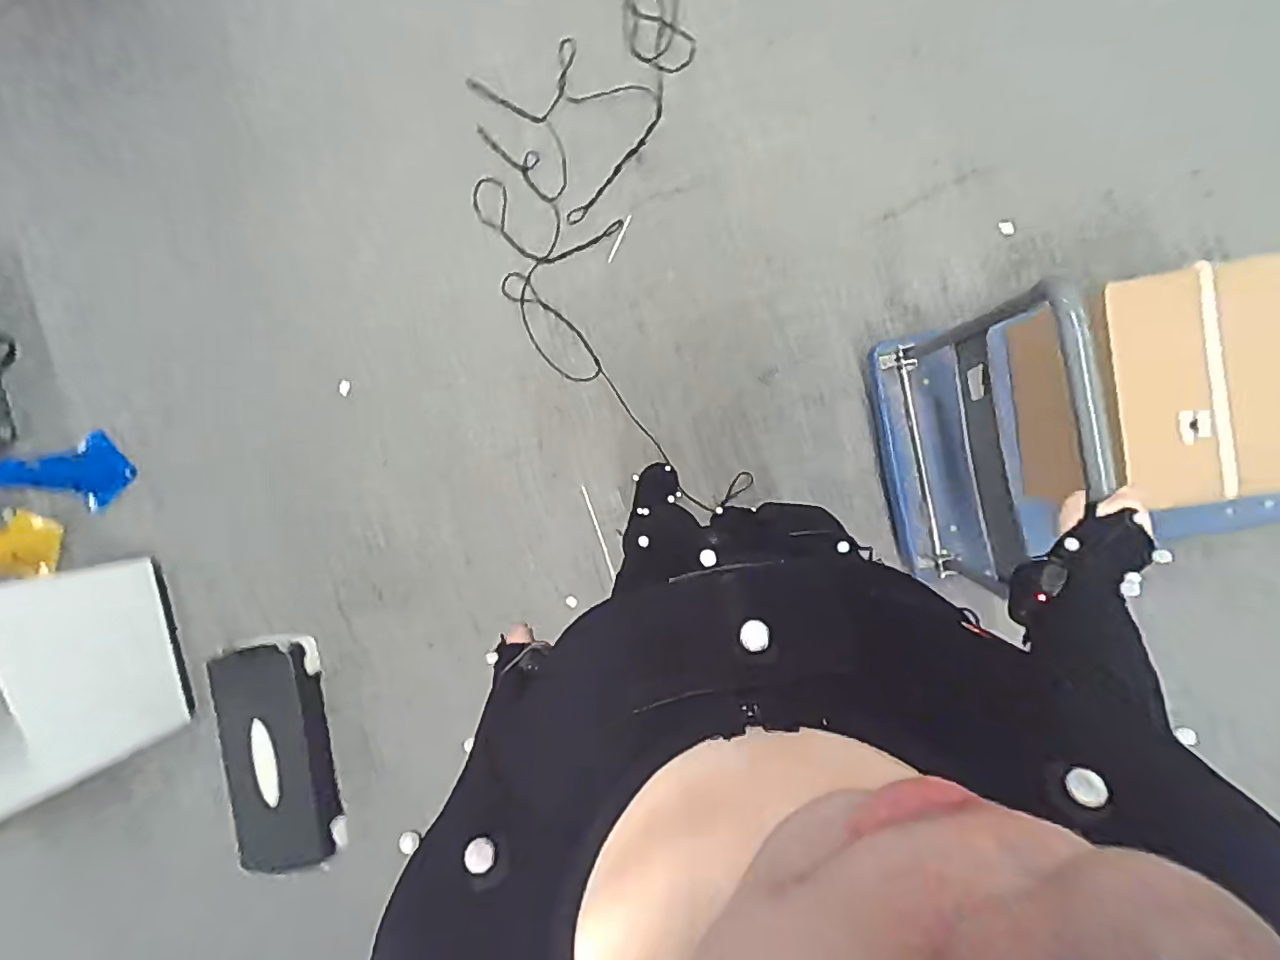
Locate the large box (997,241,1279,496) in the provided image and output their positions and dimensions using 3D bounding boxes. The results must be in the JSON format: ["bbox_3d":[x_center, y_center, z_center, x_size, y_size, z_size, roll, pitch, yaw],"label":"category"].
[{"bbox_3d":[0.988,-0.199,1.092,0.320,0.320,0.408,-9,92,7],"label":"large box"}]
